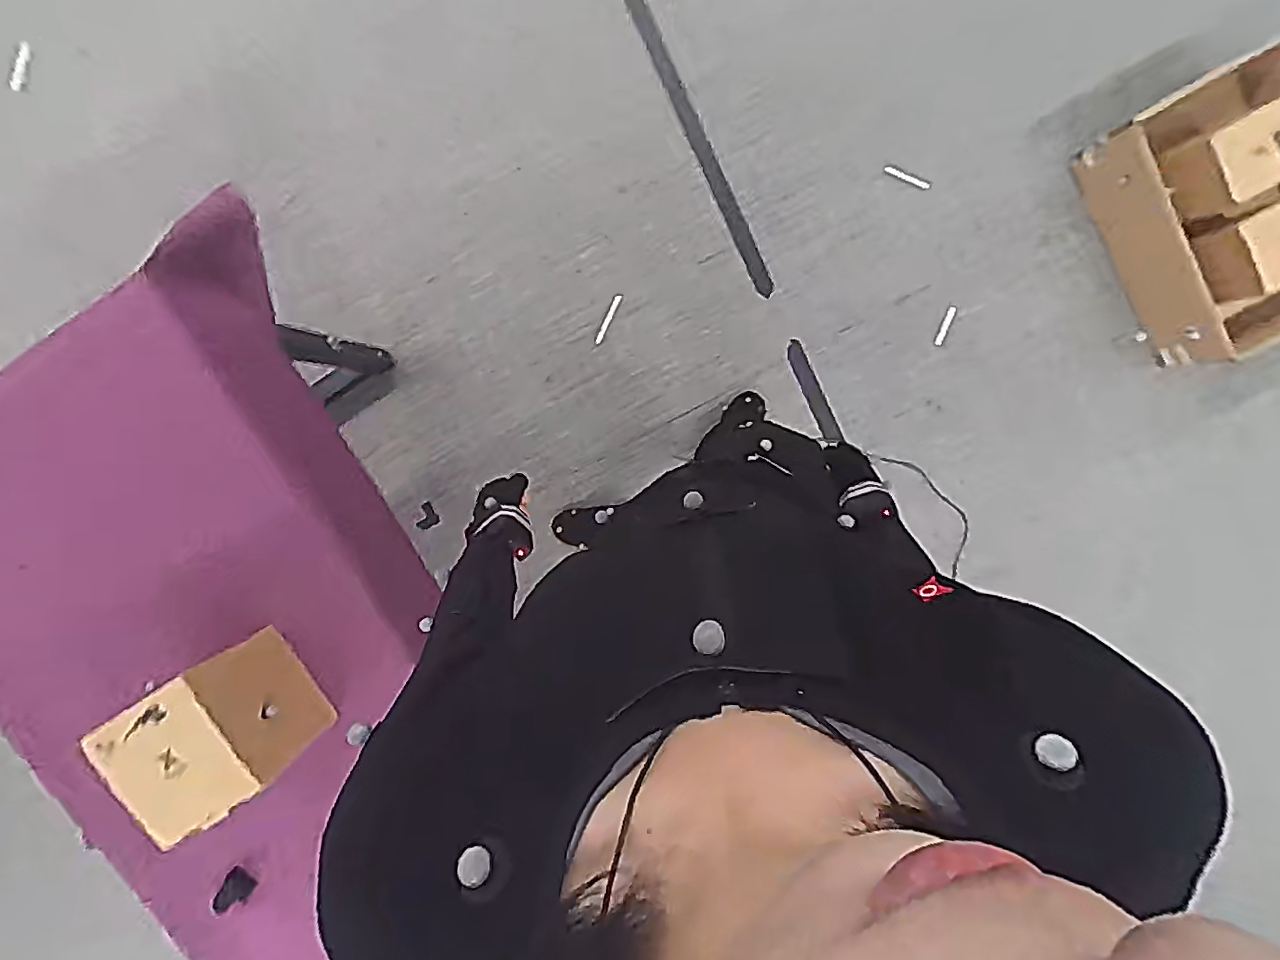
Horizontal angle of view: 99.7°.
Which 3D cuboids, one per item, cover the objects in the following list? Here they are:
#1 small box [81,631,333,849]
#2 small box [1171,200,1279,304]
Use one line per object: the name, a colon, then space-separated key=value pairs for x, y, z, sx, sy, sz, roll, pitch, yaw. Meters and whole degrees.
small box: x=-0.573 y=0.343 z=0.746 sx=0.168 sy=0.176 sz=0.179 roll=-32 pitch=95 yaw=5
small box: x=1.452 y=-0.541 z=1.293 sx=0.168 sy=0.176 sz=0.179 roll=-30 pitch=93 yaw=4
